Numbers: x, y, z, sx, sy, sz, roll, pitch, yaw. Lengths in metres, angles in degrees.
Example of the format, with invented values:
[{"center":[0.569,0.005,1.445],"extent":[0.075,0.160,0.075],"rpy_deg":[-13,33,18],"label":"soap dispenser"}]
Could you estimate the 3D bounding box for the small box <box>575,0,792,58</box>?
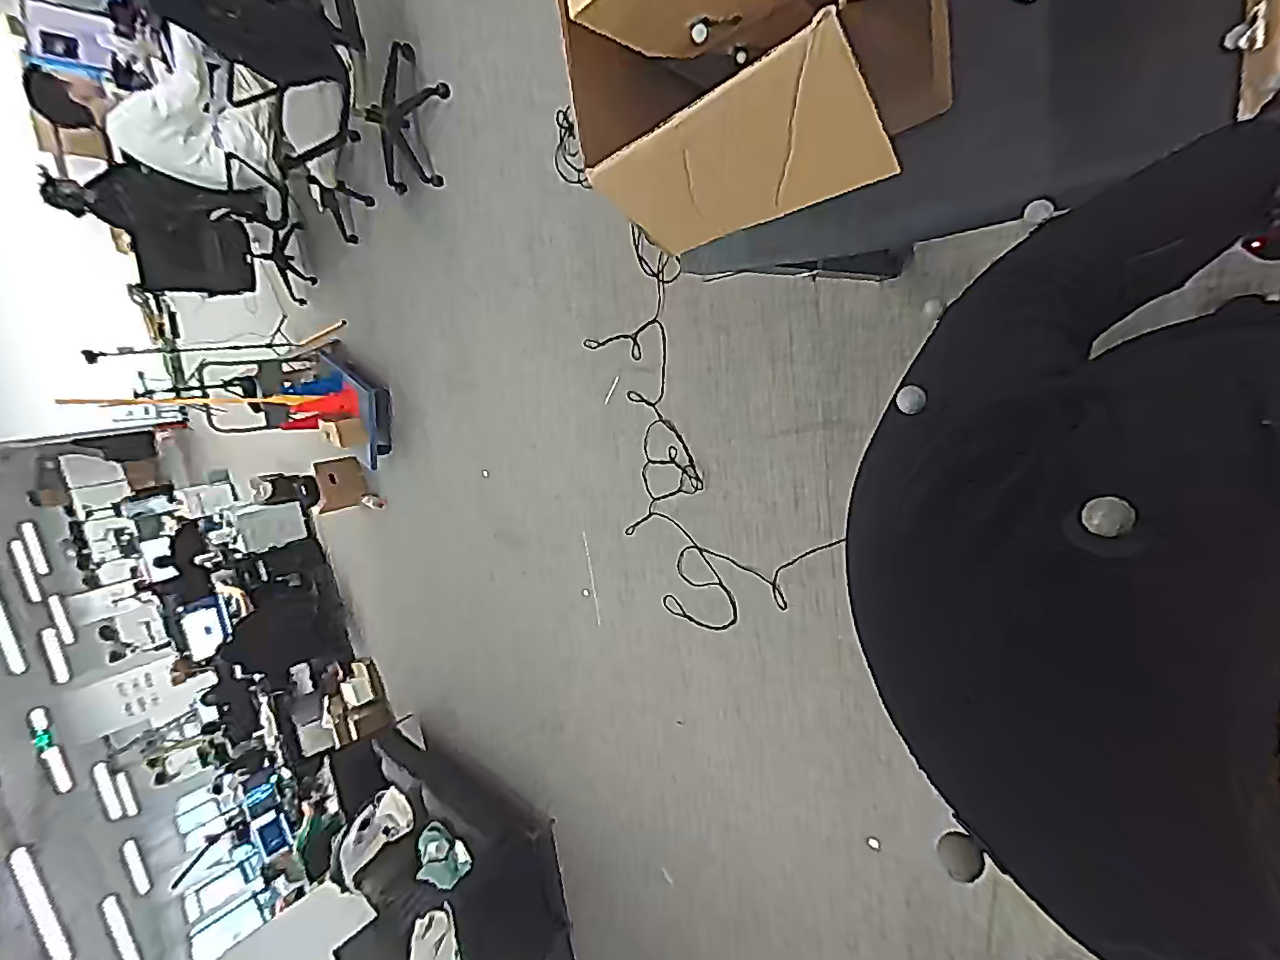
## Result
[{"center":[0.043,-0.558,0.519],"extent":[0.168,0.176,0.179],"rpy_deg":[7,110,42],"label":"small box"}]
